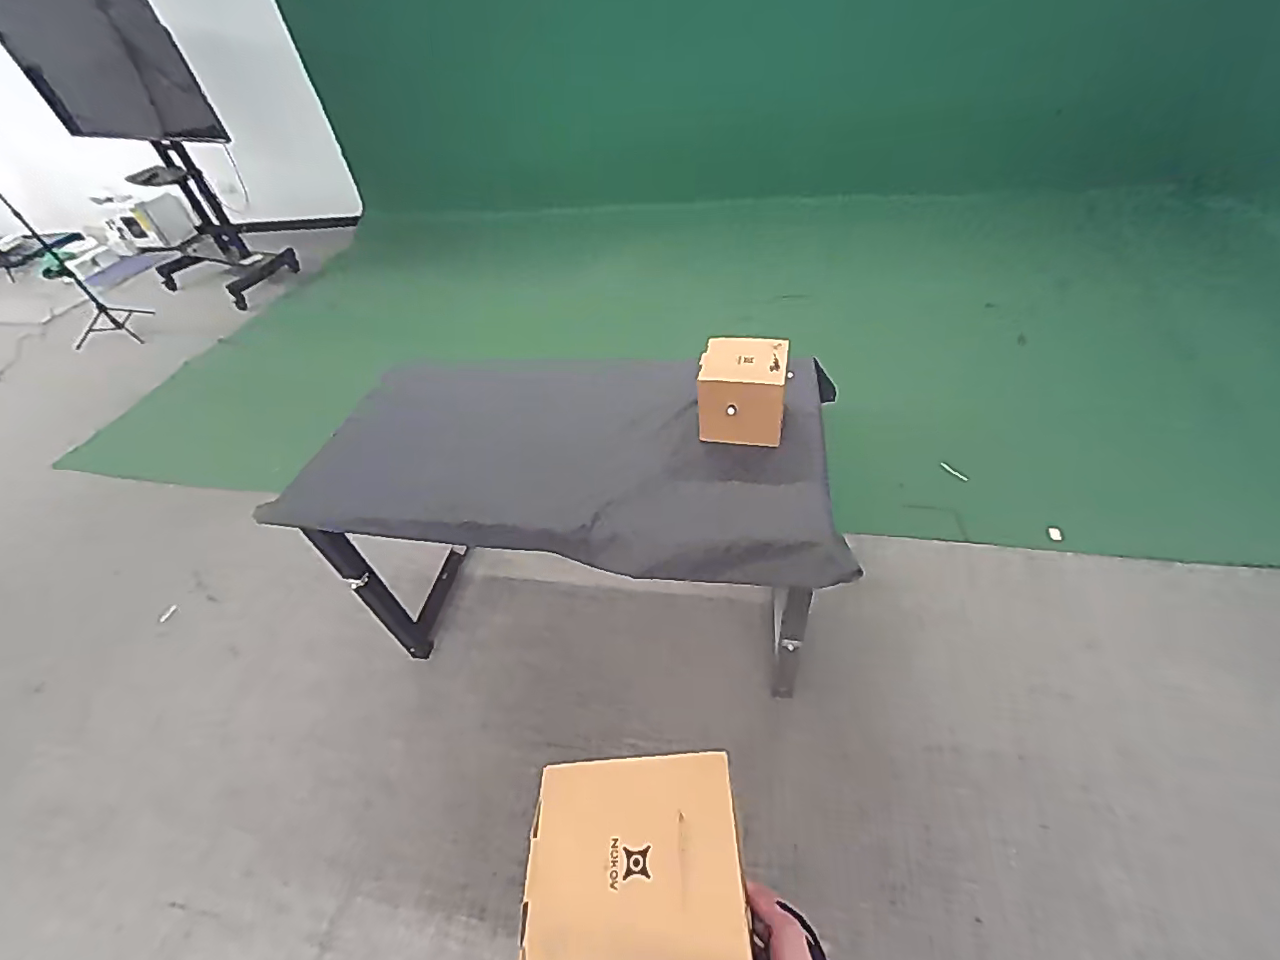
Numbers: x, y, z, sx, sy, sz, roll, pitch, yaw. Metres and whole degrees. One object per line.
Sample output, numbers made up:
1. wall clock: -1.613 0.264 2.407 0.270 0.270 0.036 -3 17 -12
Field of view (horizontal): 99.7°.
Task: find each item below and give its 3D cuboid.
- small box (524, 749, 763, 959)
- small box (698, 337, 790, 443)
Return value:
1. small box: 0.013 0.369 0.493 0.179 0.176 0.168 -8 42 6
2. small box: 0.232 -0.197 1.189 0.179 0.176 0.168 5 48 16
